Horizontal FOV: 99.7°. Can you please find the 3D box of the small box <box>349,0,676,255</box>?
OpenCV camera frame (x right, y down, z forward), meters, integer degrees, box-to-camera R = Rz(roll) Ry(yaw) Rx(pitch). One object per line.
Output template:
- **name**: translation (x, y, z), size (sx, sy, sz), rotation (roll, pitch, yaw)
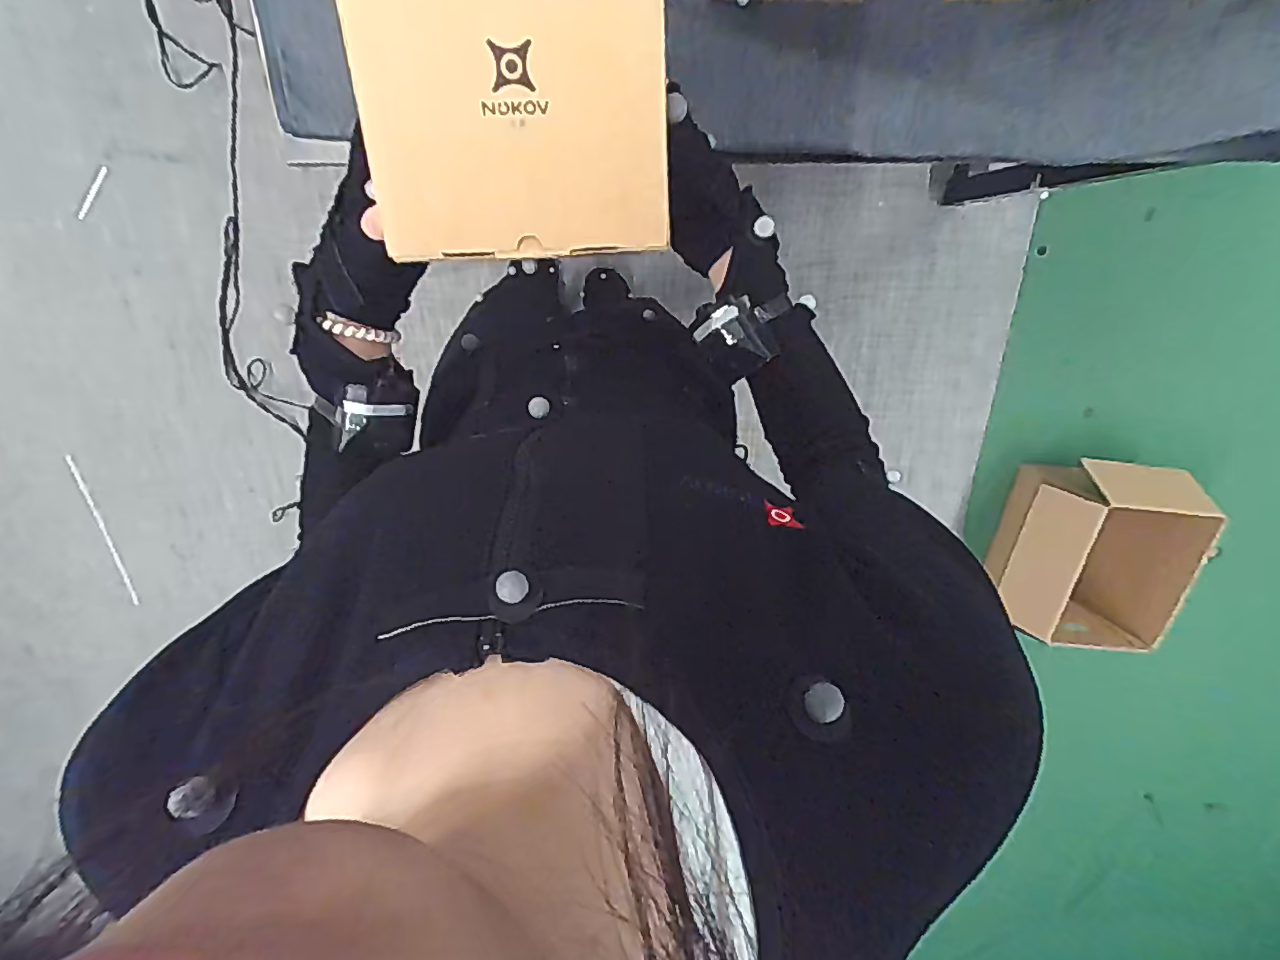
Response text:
- **small box**: translation (-0.071, -0.246, 0.357), size (0.168, 0.176, 0.179), rotation (-4, 114, -4)
